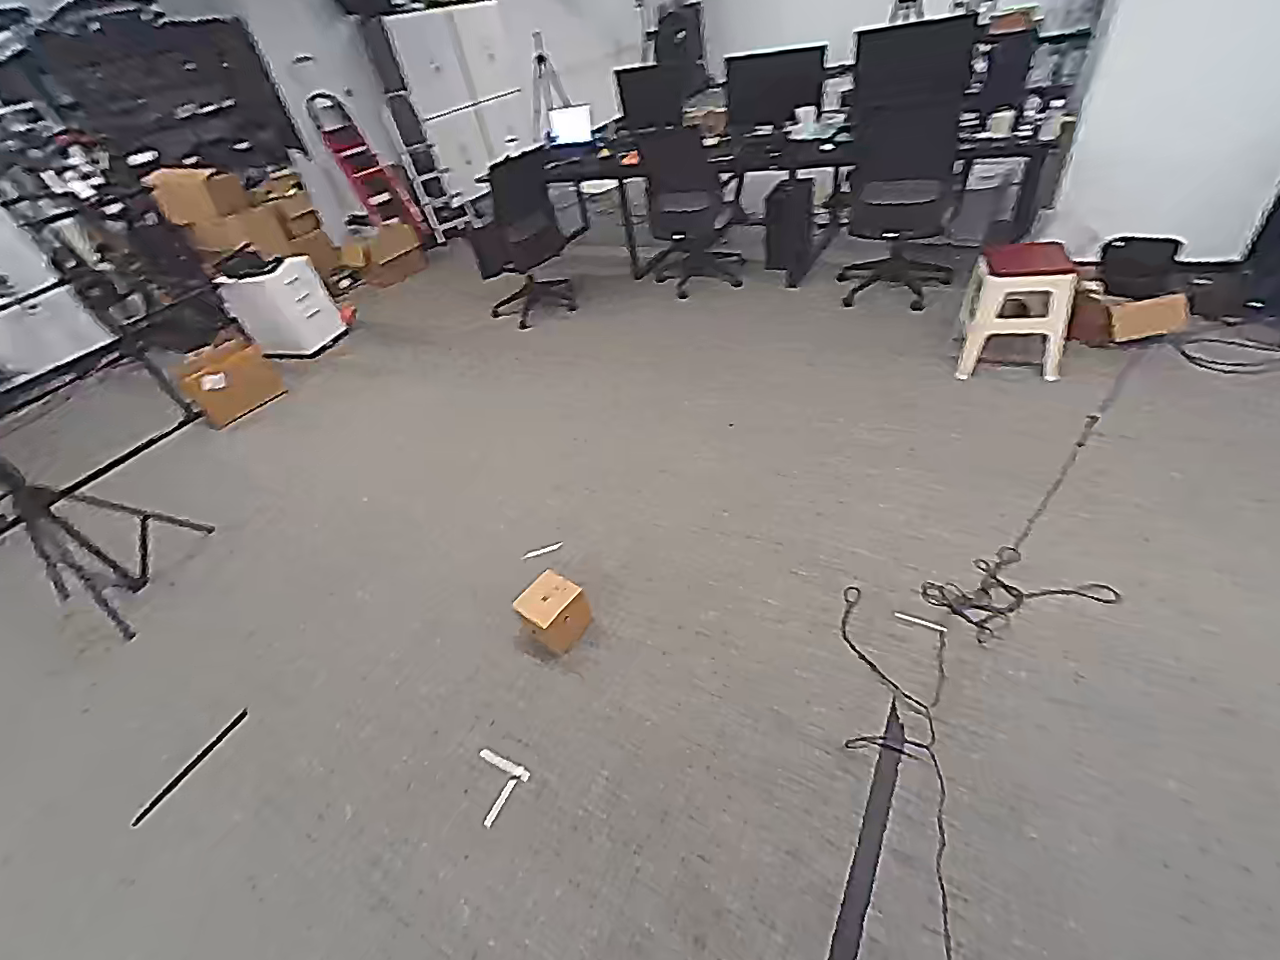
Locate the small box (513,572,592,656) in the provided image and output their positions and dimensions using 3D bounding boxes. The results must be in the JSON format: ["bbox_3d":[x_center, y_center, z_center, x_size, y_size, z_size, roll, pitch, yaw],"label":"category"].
[{"bbox_3d":[-0.281,0.444,1.778,0.168,0.176,0.179,22,51,33],"label":"small box"}]
